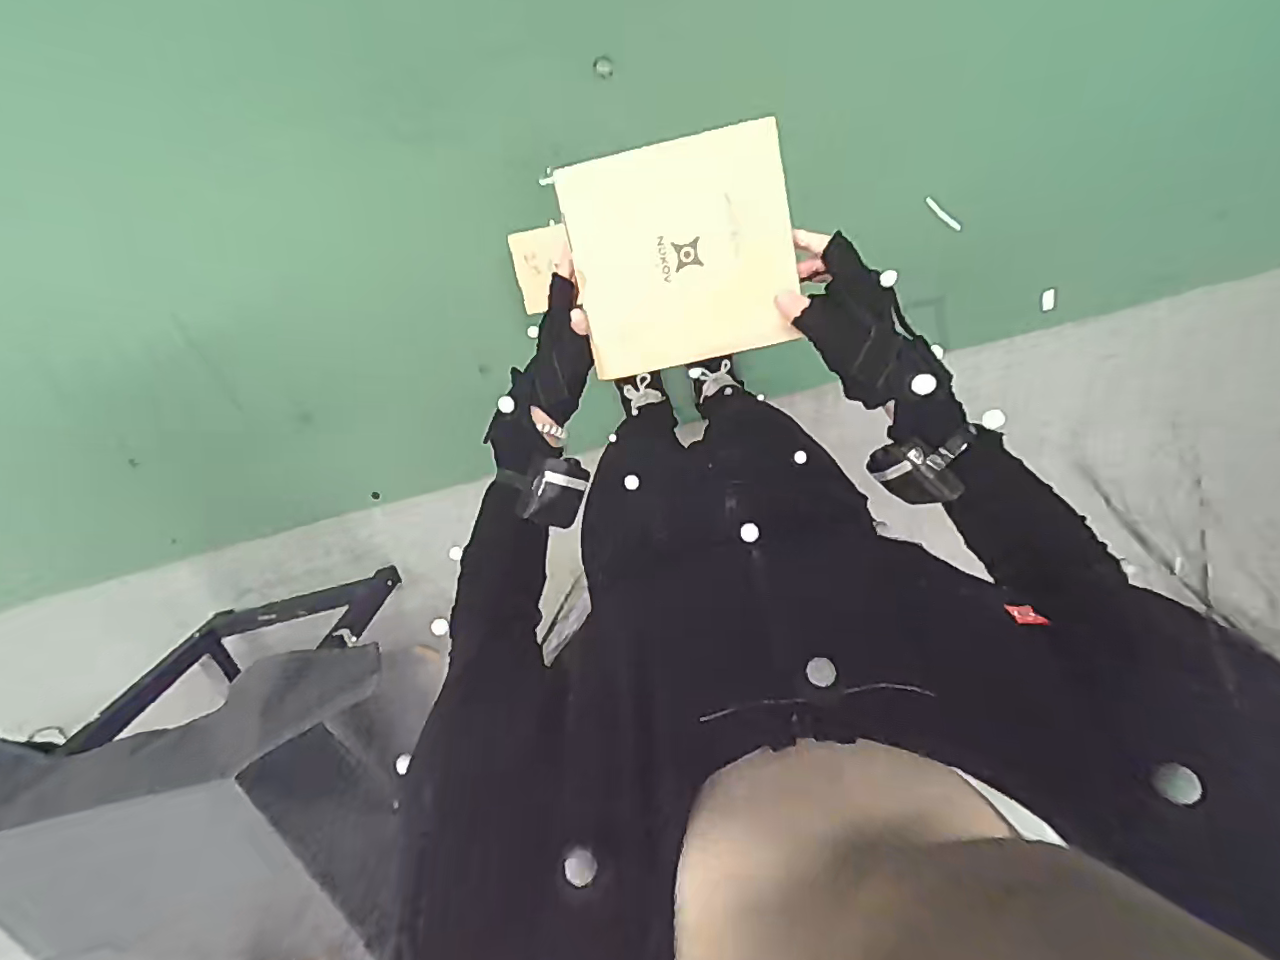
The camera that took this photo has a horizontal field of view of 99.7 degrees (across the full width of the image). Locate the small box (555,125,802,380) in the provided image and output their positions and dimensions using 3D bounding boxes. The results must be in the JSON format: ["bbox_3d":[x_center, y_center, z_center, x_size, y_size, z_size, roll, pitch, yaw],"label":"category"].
[{"bbox_3d":[0.037,-0.190,0.505,0.179,0.176,0.168,-11,102,5],"label":"small box"}]

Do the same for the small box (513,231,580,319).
[{"bbox_3d":[-0.175,-0.476,1.246,0.179,0.176,0.168,-11,110,3],"label":"small box"}]
